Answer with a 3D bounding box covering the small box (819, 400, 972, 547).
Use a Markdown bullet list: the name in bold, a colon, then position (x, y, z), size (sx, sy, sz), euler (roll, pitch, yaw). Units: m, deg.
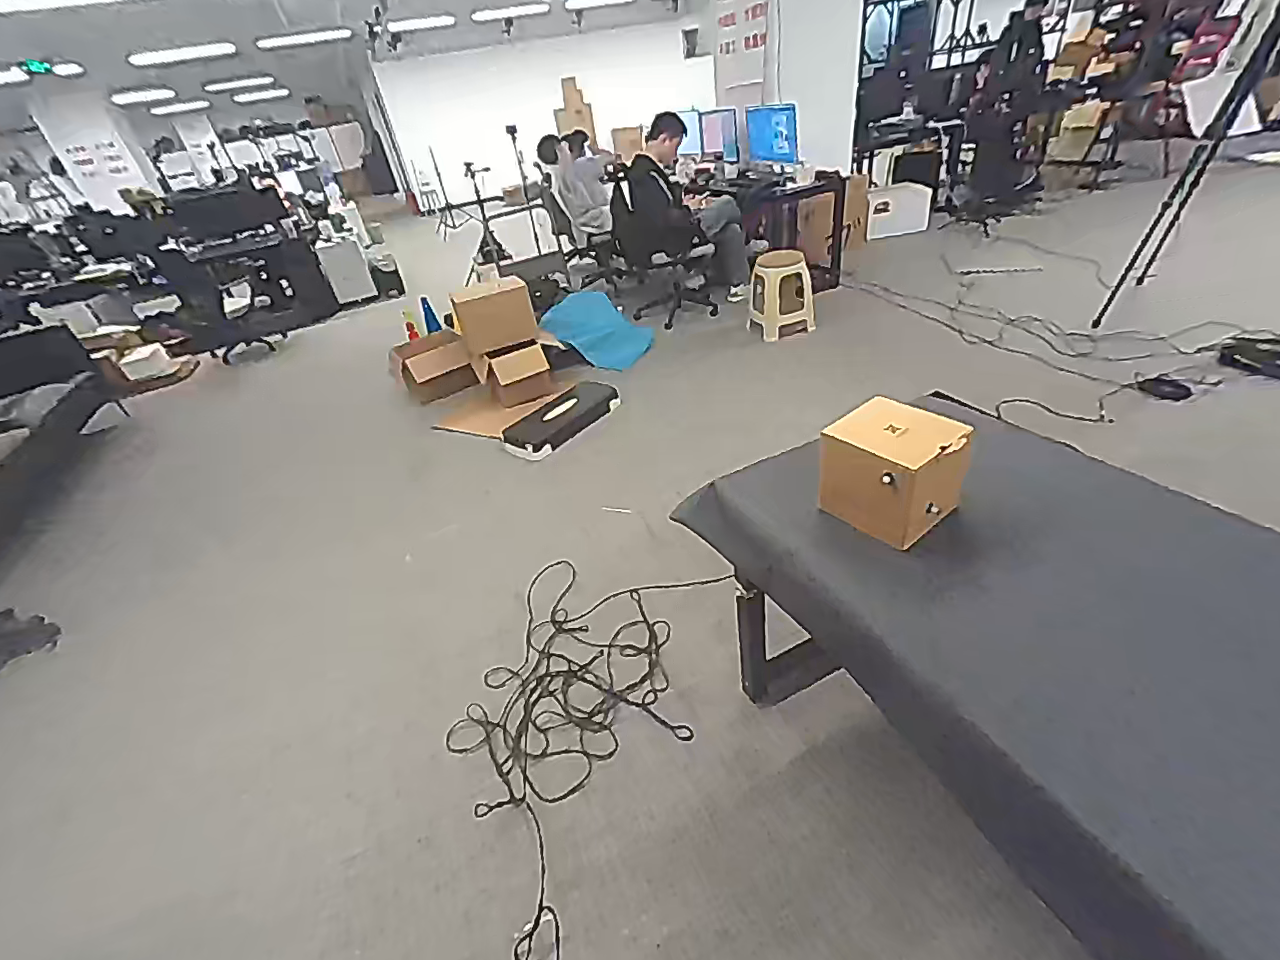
- **small box**: position (0.430, -0.013, 0.938), size (0.168, 0.176, 0.179), euler (-29, 39, -26)
